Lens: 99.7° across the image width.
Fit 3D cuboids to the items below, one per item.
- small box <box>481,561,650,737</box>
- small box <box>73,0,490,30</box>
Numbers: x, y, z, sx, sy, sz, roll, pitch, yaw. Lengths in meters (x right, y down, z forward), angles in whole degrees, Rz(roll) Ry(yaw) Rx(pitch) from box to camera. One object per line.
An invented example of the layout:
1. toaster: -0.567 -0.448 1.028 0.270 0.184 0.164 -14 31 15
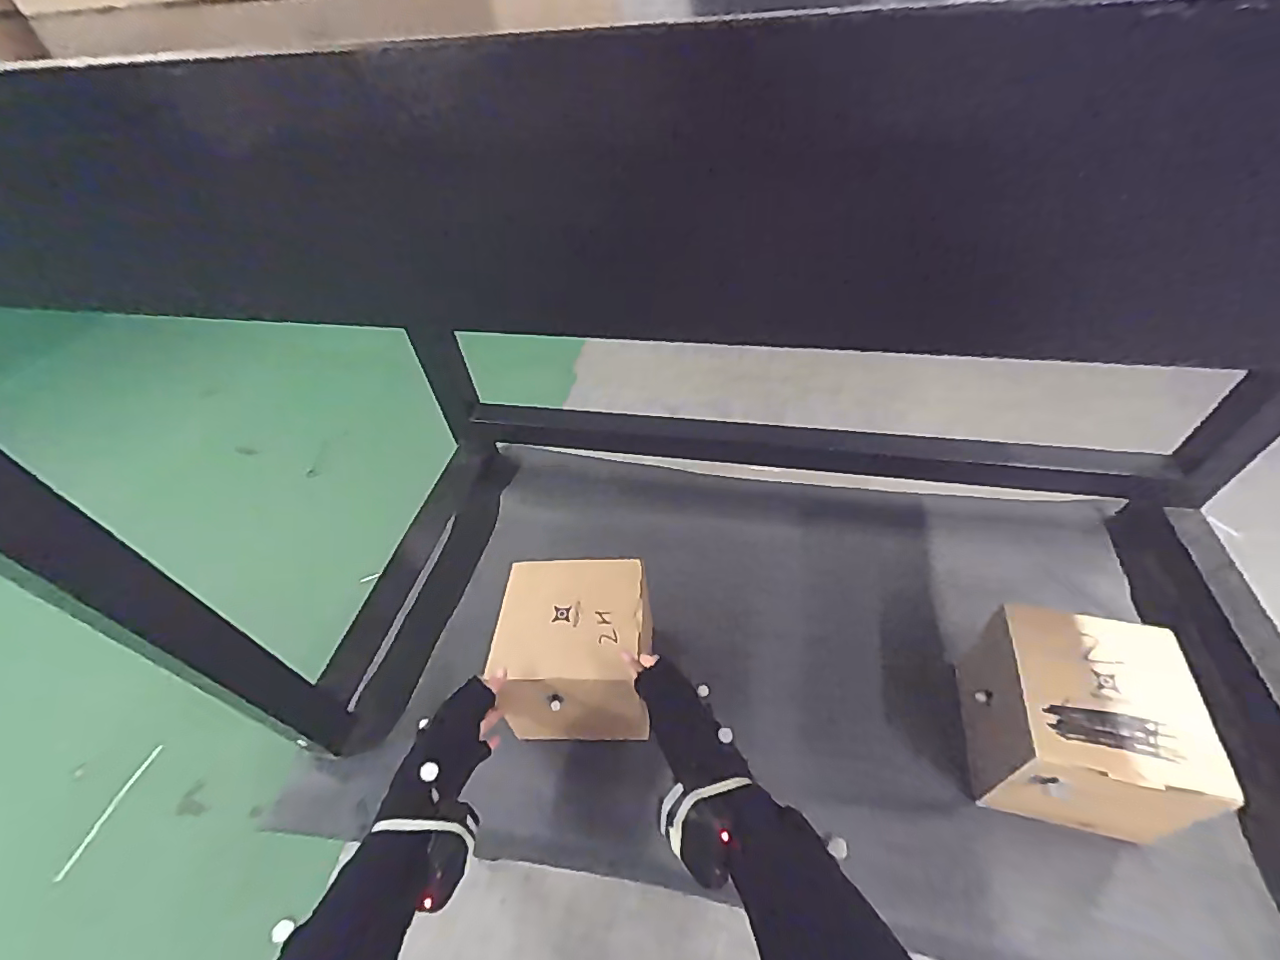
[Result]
1. small box: -0.082 0.223 0.709 0.179 0.176 0.168 -1 45 5
2. small box: -0.117 -0.258 0.167 0.168 0.176 0.179 5 47 10
